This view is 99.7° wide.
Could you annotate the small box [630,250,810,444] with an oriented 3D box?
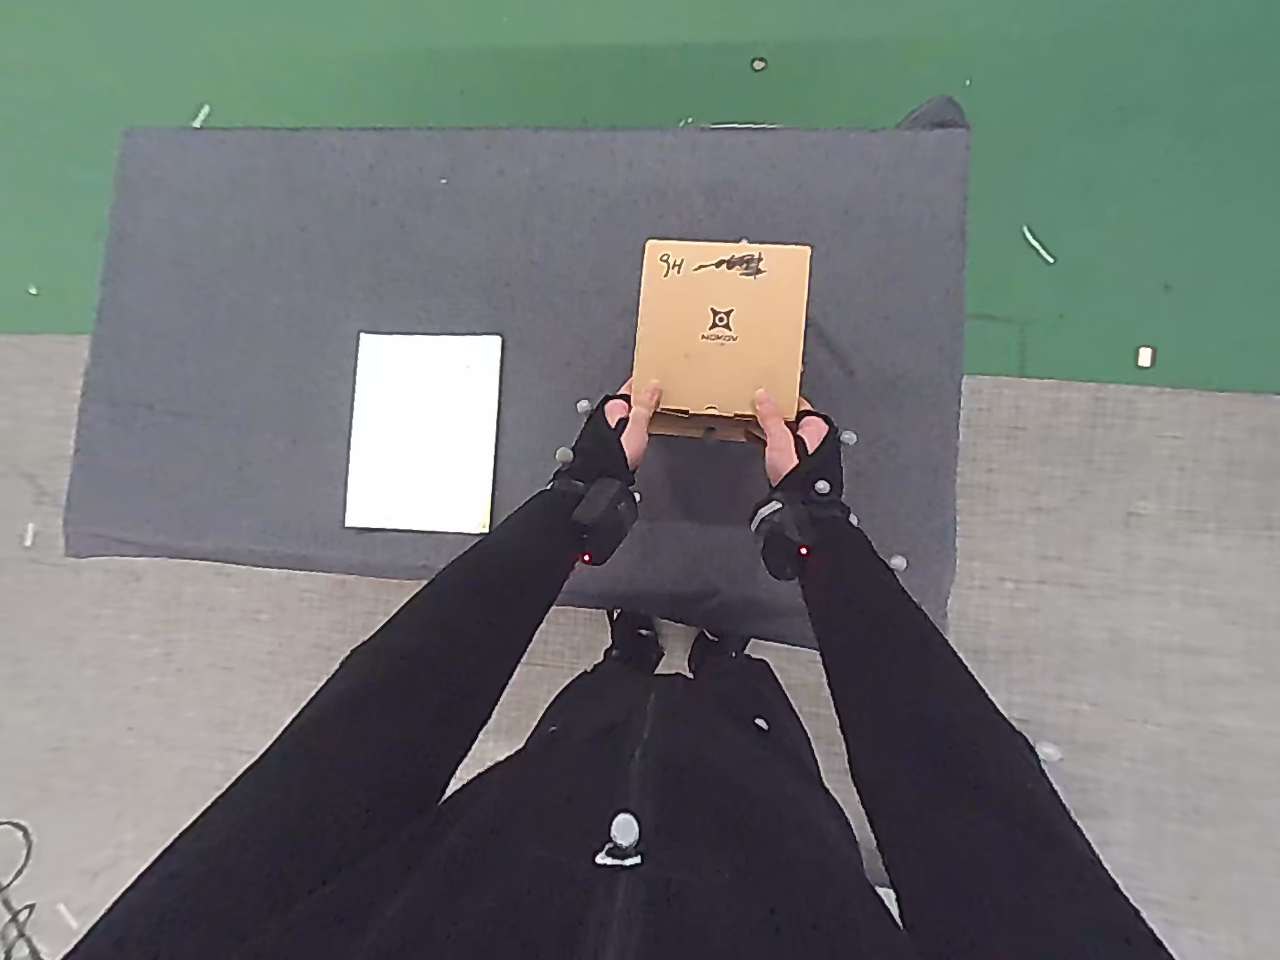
[{"bbox_3d":[0.088,-0.138,0.617,0.168,0.176,0.179,5,89,6],"label":"small box"}]
